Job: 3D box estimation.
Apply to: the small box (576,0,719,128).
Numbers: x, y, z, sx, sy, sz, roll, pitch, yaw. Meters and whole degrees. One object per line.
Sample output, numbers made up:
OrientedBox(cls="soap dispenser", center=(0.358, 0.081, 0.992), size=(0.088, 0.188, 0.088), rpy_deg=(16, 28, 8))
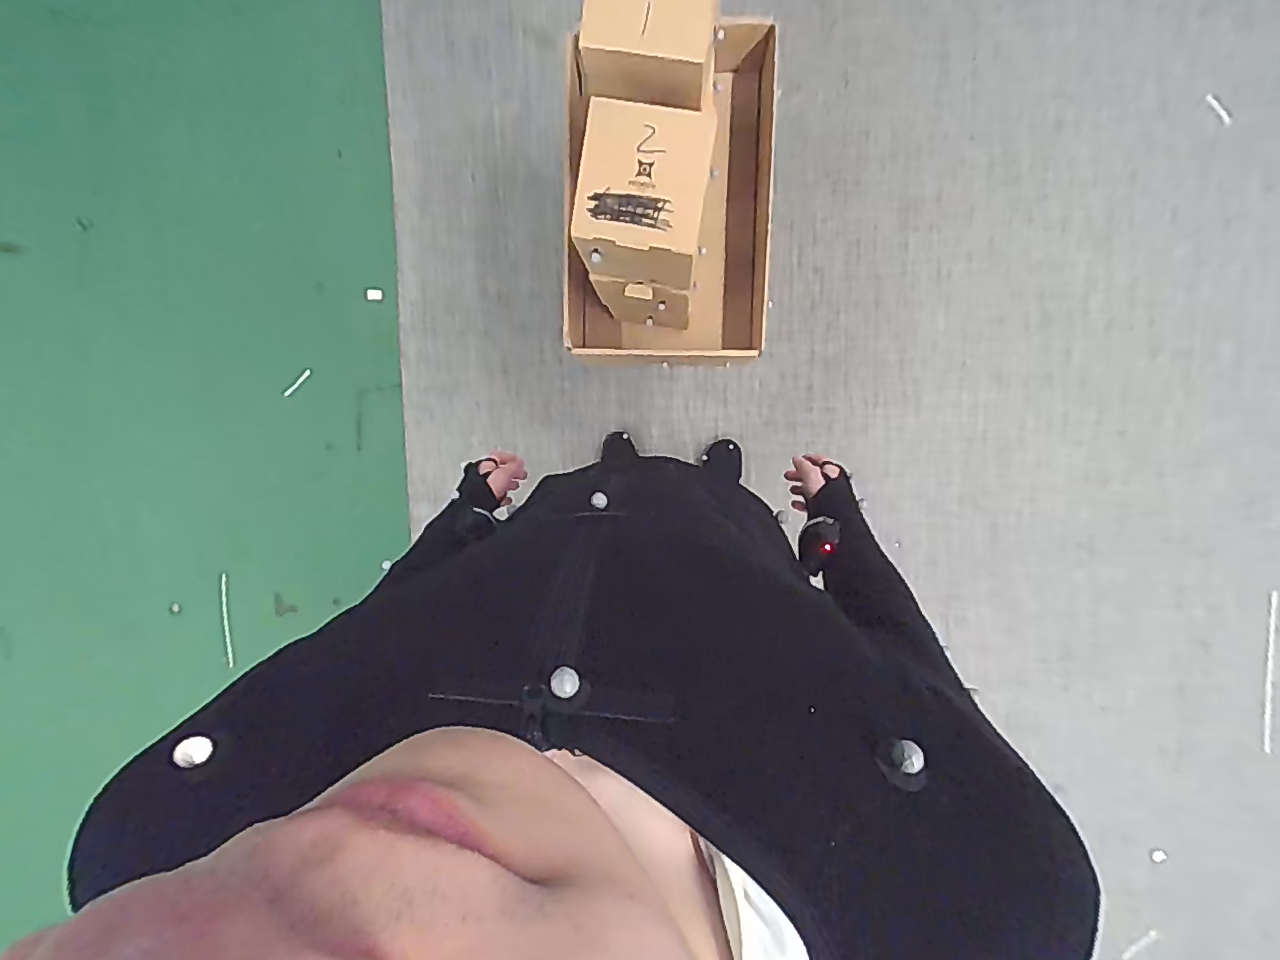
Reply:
OrientedBox(cls="small box", center=(0.018, -0.631, 0.746), size=(0.168, 0.176, 0.179), rpy_deg=(10, 98, 3))

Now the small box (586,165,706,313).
OrientedBox(cls="small box", center=(0.014, -0.399, 0.927), size=(0.168, 0.176, 0.179), rpy_deg=(11, 94, 2))

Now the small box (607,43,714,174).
OrientedBox(cls="small box", center=(0.034, -0.644, 0.909), size=(0.168, 0.176, 0.179), rpy_deg=(1, 97, 4))
